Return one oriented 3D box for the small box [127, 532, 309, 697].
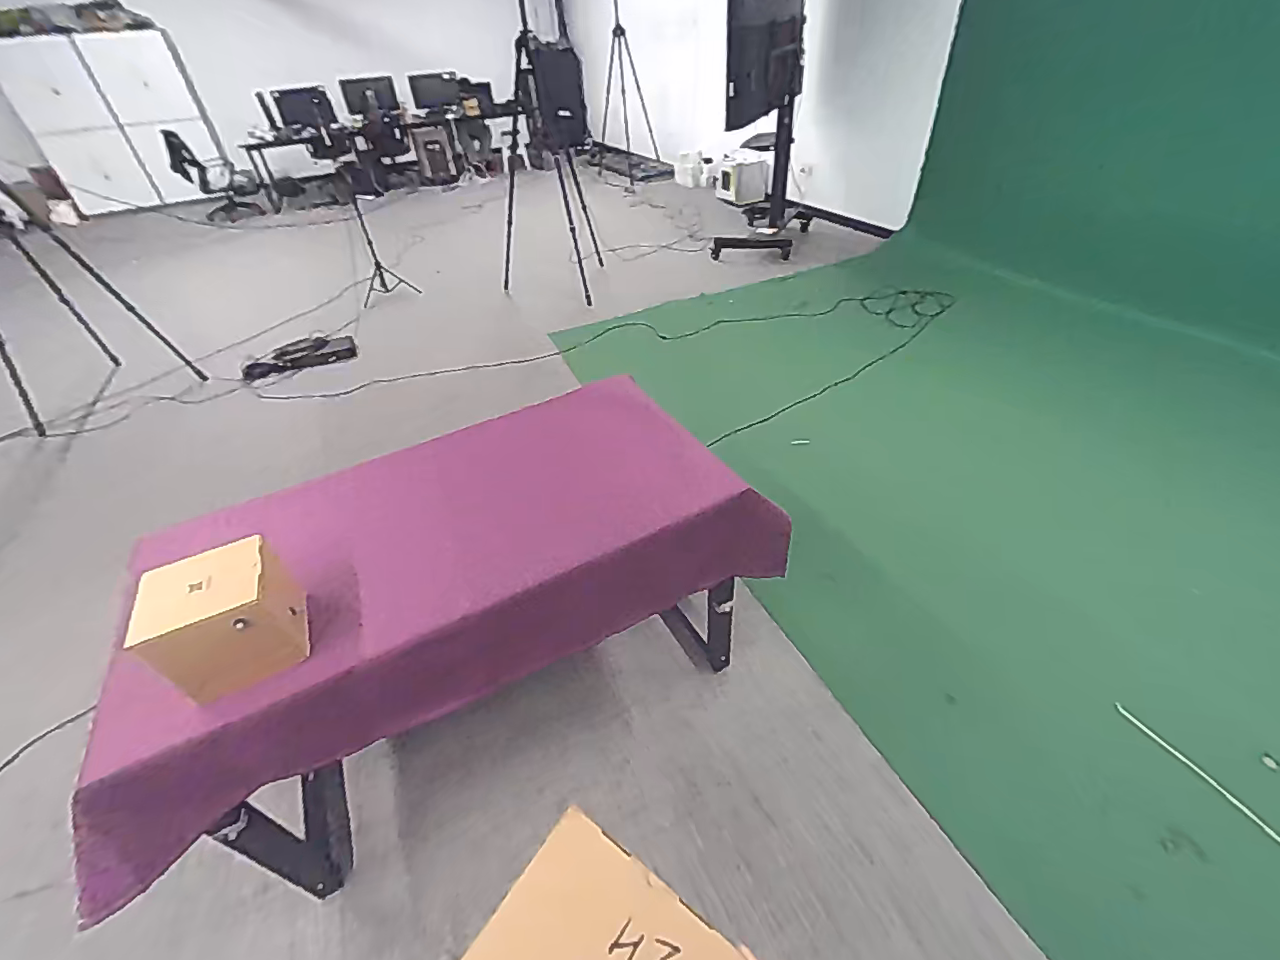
[{"bbox_3d":[-0.683,0.223,0.899,0.179,0.176,0.168,-21,42,-20],"label":"small box"}]
